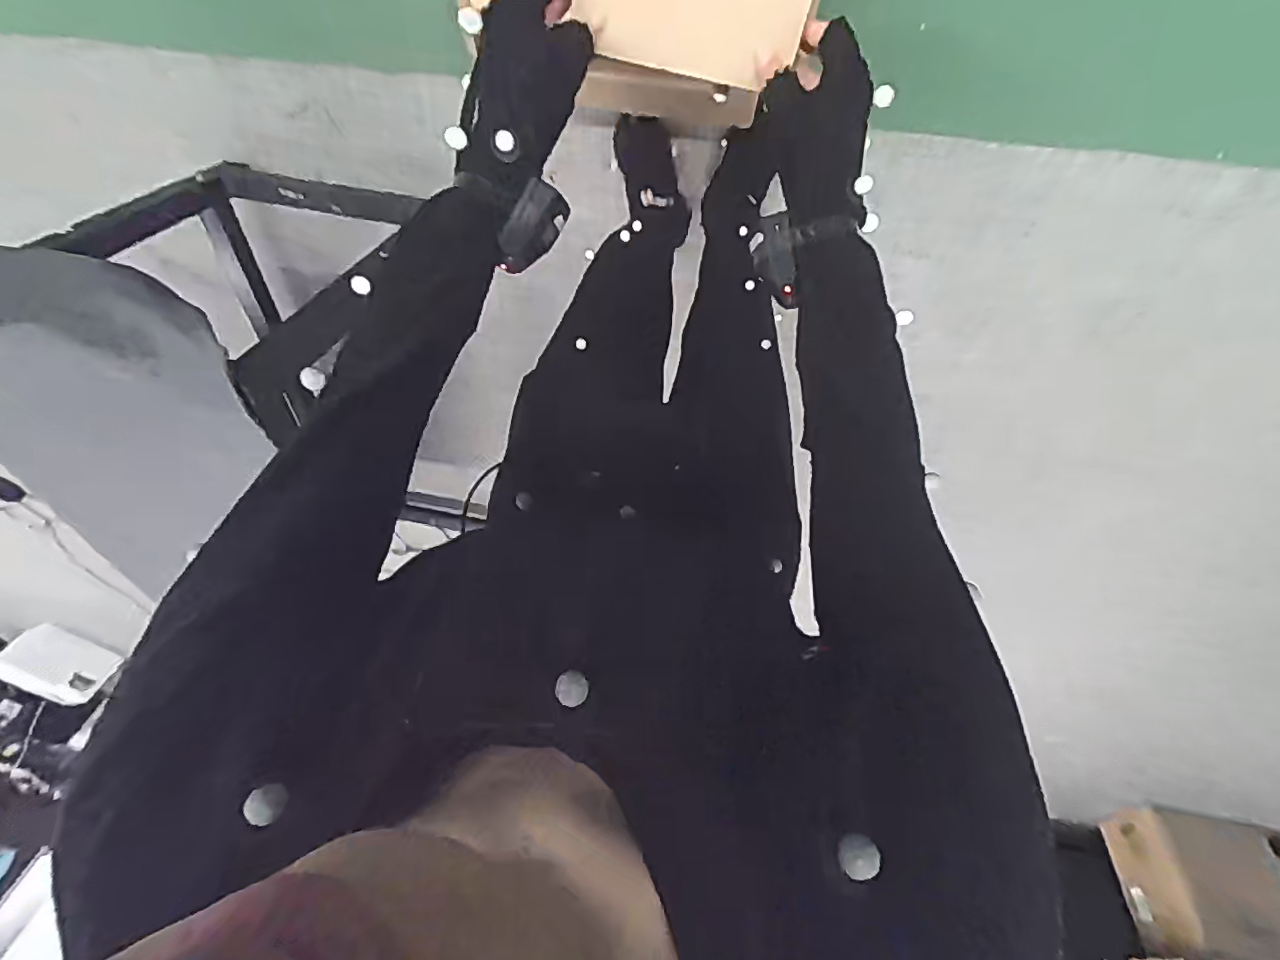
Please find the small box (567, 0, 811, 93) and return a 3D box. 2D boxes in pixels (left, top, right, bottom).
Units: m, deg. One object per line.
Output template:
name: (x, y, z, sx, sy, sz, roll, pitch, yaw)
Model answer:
small box: (0.045, -0.435, 0.424, 0.179, 0.176, 0.168, 9, 134, -6)
